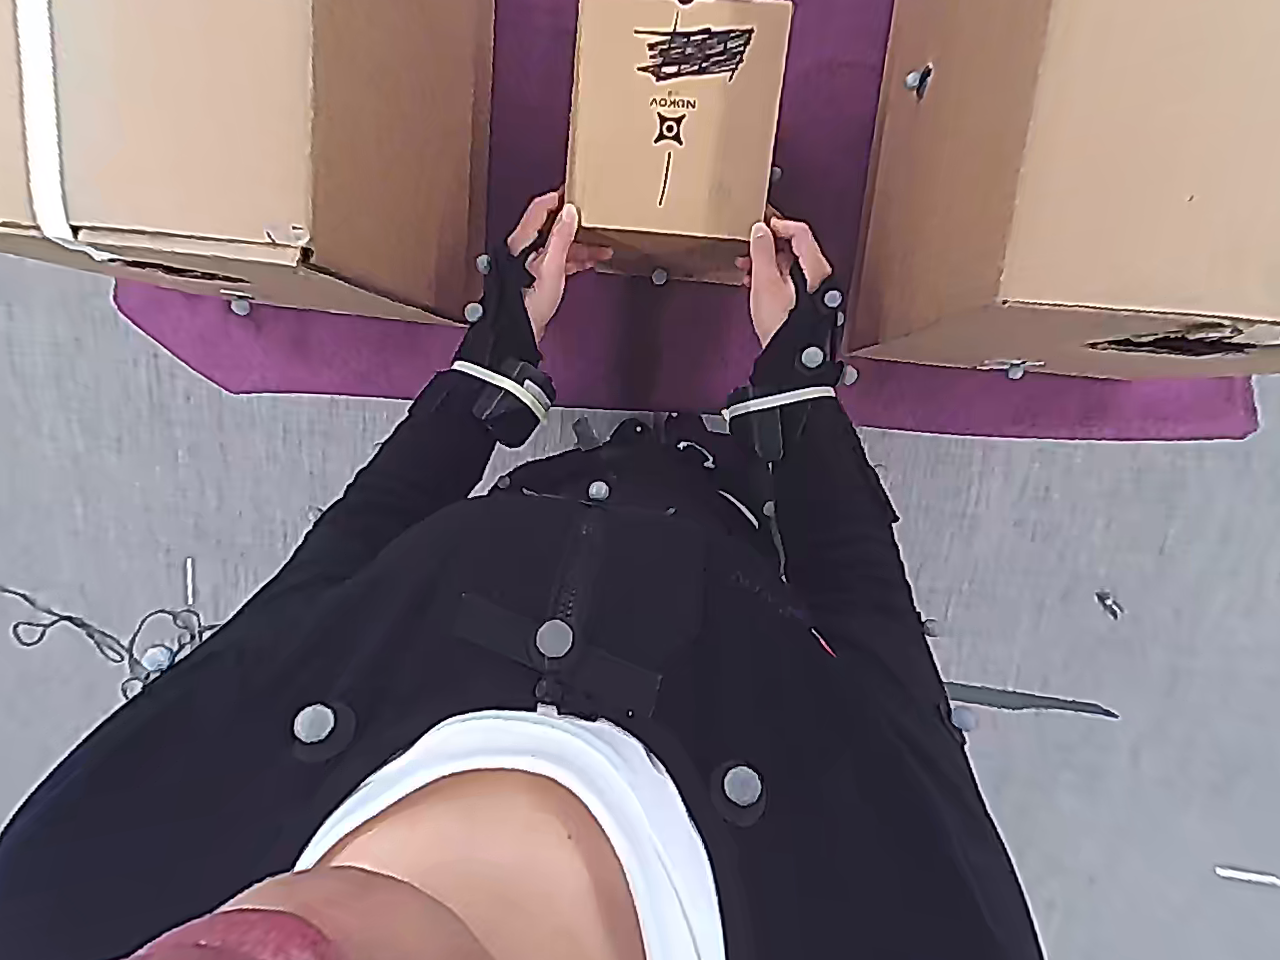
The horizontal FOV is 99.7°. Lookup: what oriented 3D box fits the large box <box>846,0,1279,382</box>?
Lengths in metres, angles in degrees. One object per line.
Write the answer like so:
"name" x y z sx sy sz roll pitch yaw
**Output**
"large box" 0.373 -0.293 0.412 0.320 0.320 0.408 6 97 4
